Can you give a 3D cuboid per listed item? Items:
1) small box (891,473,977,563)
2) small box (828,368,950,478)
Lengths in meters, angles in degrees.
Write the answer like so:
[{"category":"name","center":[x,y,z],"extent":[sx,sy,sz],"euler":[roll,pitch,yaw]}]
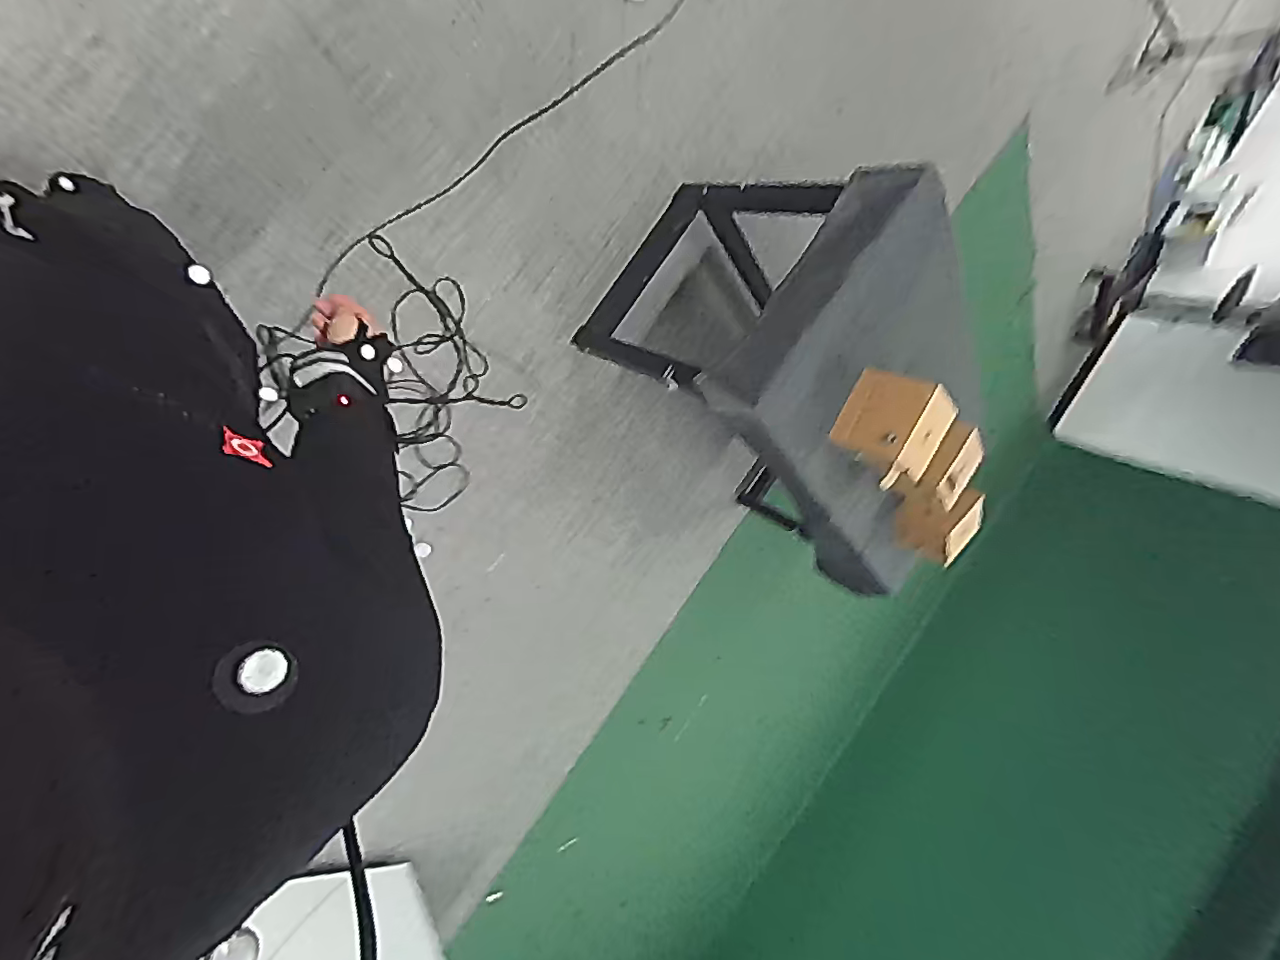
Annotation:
[{"category":"small box","center":[0.879,0.110,1.631],"extent":[0.179,0.176,0.168],"euler":[-42,135,-18]},{"category":"small box","center":[0.555,-0.130,1.215],"extent":[0.168,0.176,0.179],"euler":[22,97,-46]}]
